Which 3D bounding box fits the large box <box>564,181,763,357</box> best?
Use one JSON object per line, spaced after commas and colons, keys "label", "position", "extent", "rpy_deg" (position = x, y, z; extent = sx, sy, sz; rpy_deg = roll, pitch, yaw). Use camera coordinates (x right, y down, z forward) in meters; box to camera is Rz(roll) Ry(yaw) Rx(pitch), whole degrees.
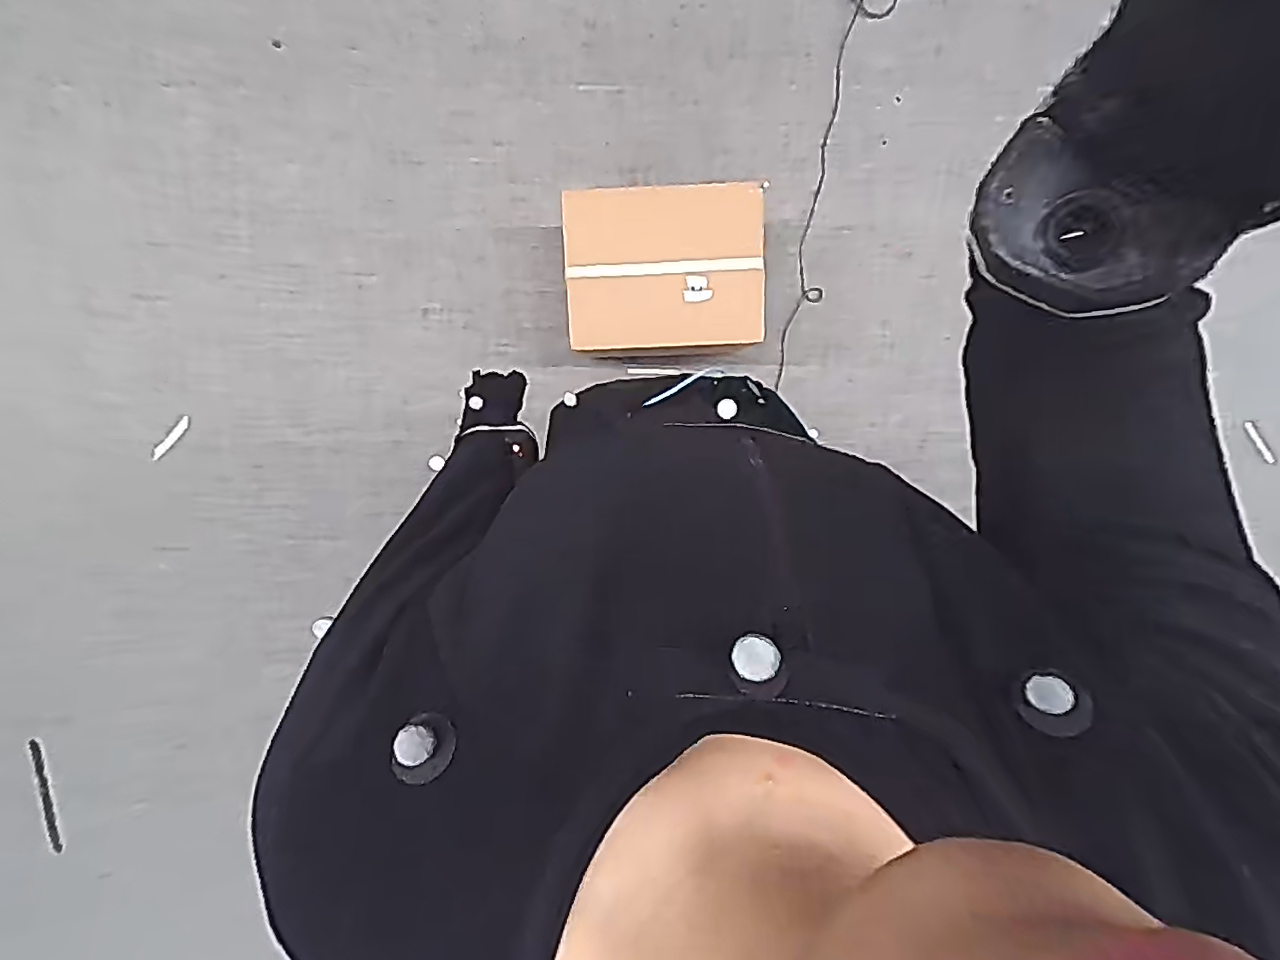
{"label": "large box", "position": [0.050, -0.462, 1.256], "extent": [0.408, 0.320, 0.320], "rpy_deg": [-2, 100, 0]}
